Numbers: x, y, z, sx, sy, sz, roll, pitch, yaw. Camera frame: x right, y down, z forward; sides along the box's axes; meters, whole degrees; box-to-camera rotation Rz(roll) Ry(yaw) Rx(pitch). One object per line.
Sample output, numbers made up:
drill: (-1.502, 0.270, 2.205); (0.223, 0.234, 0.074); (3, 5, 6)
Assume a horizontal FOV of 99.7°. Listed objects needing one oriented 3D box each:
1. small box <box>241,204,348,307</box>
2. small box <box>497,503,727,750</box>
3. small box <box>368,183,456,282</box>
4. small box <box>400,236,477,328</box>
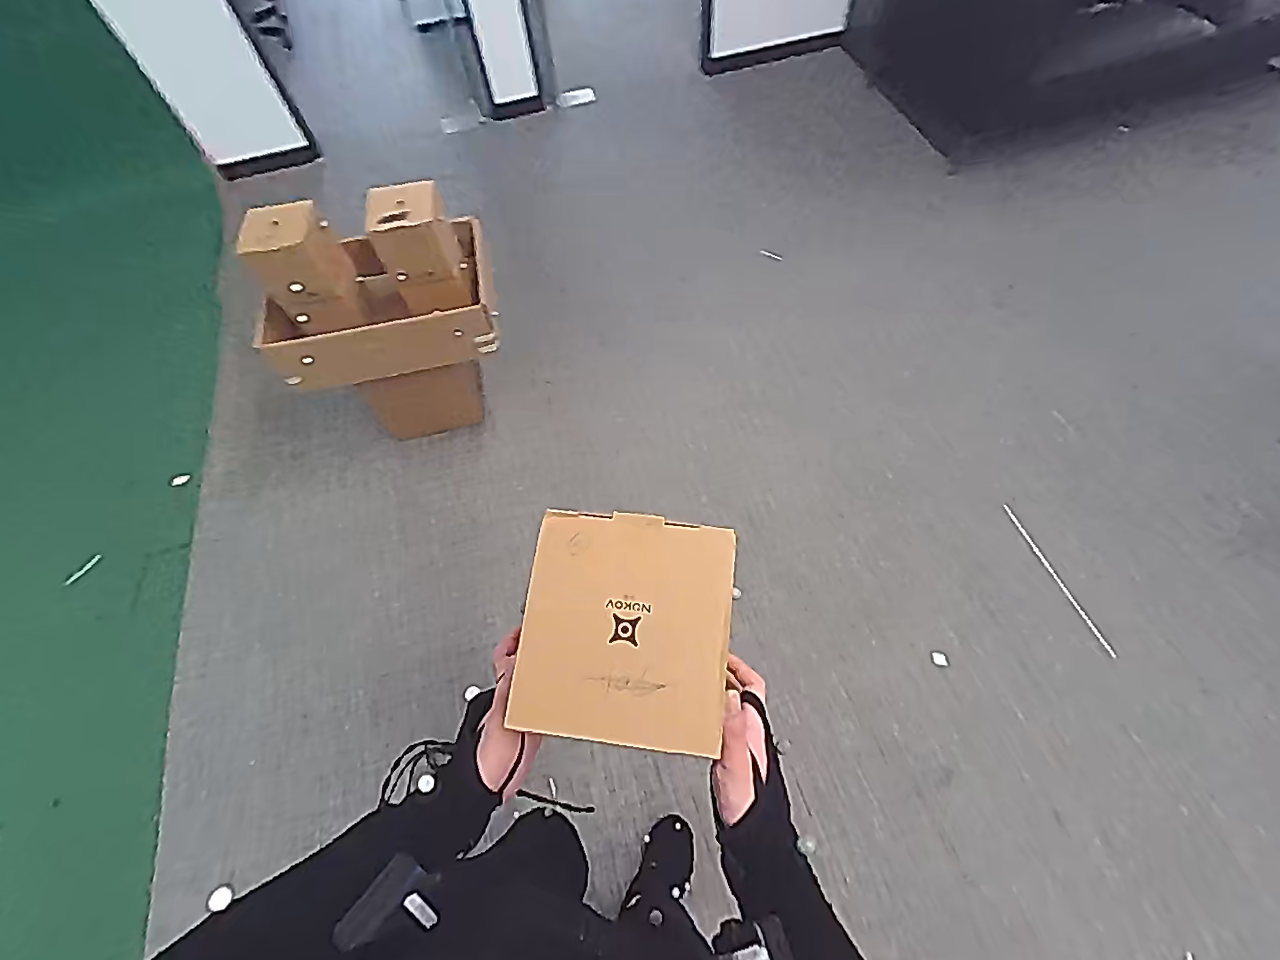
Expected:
small box: (-0.896, -0.588, 1.424); (0.168, 0.176, 0.179); (-10, 61, -1)
small box: (-0.015, 0.133, 0.504); (0.168, 0.176, 0.179); (5, 73, 5)
small box: (-0.597, -0.649, 1.437); (0.168, 0.176, 0.179); (-10, 62, -2)
small box: (-0.586, -0.578, 1.586); (0.168, 0.176, 0.179); (-12, 62, -3)
